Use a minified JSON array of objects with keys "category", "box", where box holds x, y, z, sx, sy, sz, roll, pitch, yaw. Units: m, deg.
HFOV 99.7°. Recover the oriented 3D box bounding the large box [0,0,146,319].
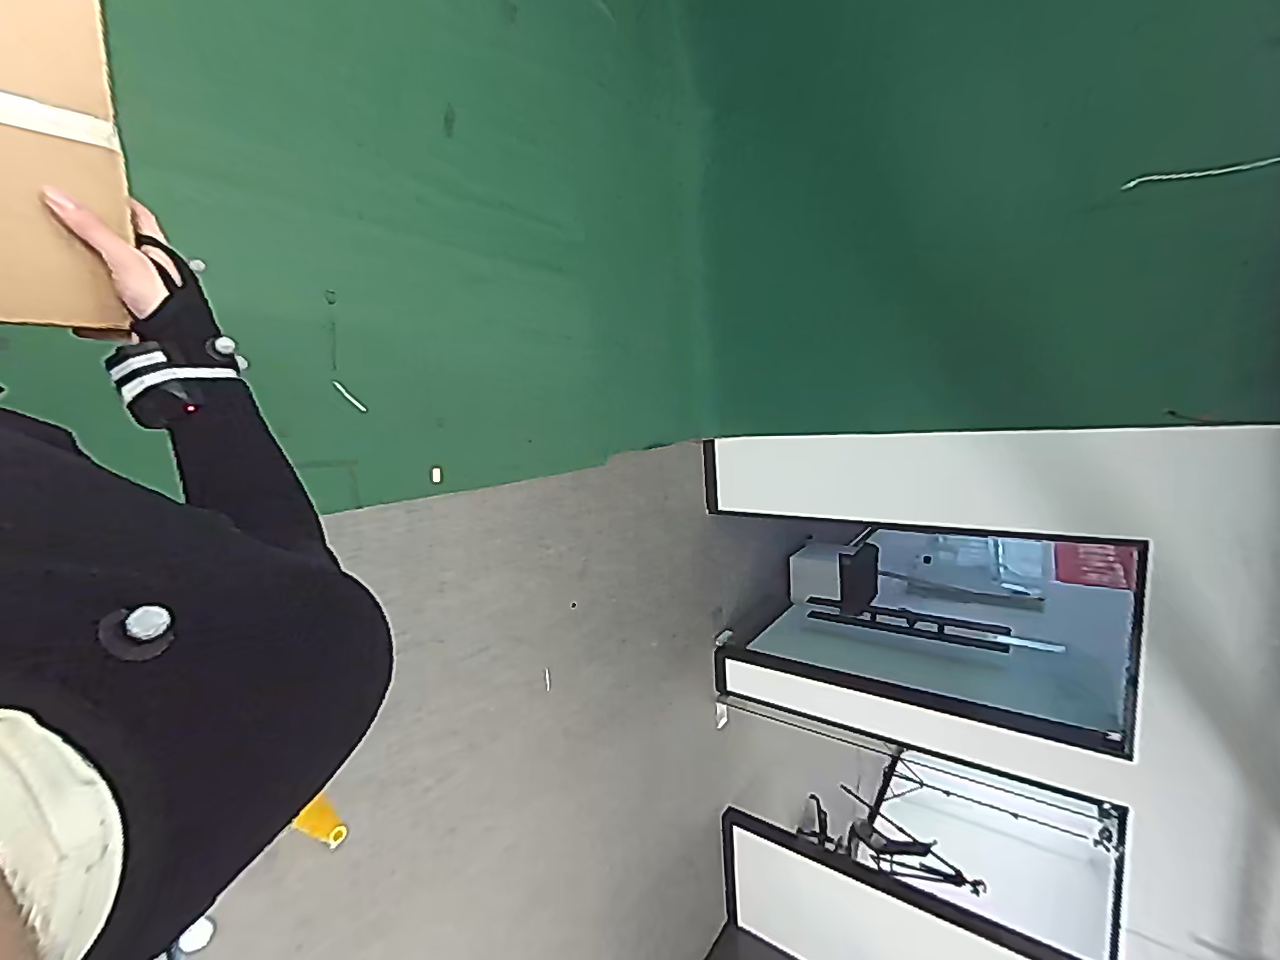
[{"category":"large box","box":[-0.689,-0.293,0.398,0.408,0.320,0.320,-14,113,-51]}]
